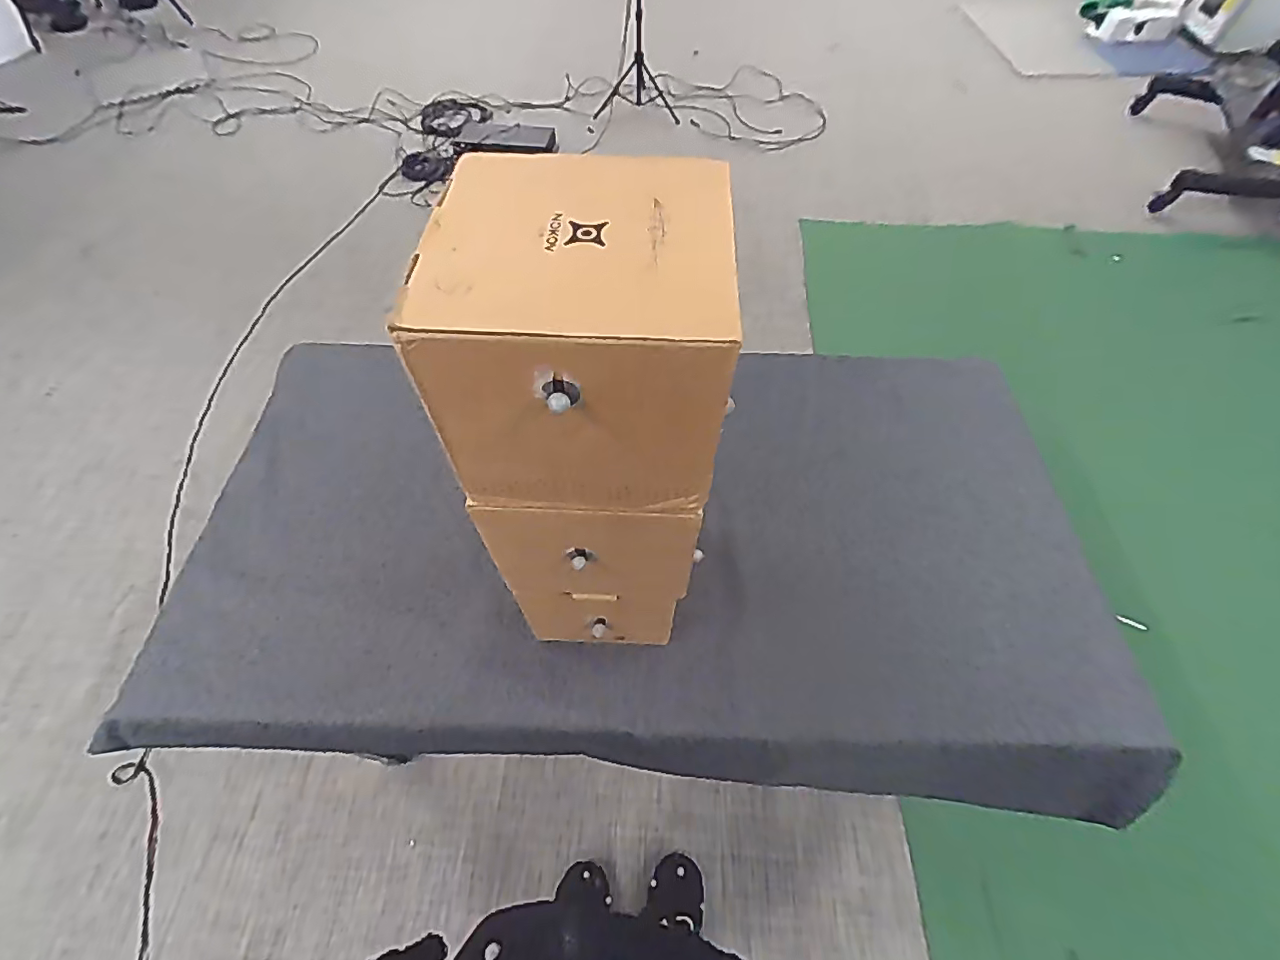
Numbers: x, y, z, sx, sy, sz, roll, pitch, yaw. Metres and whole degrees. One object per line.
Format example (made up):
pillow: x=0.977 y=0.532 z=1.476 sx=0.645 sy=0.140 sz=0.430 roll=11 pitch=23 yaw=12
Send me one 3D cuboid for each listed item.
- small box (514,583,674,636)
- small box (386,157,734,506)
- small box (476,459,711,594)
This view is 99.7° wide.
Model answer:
small box: x=-0.041 y=0.080 z=0.650 sx=0.168 sy=0.176 sz=0.179 roll=1 pitch=58 yaw=1
small box: x=-0.036 y=-0.093 z=0.373 sx=0.179 sy=0.176 sz=0.168 roll=3 pitch=58 yaw=1
small box: x=-0.037 y=0.000 z=0.506 sx=0.179 sy=0.176 sz=0.168 roll=0 pitch=58 yaw=-1
